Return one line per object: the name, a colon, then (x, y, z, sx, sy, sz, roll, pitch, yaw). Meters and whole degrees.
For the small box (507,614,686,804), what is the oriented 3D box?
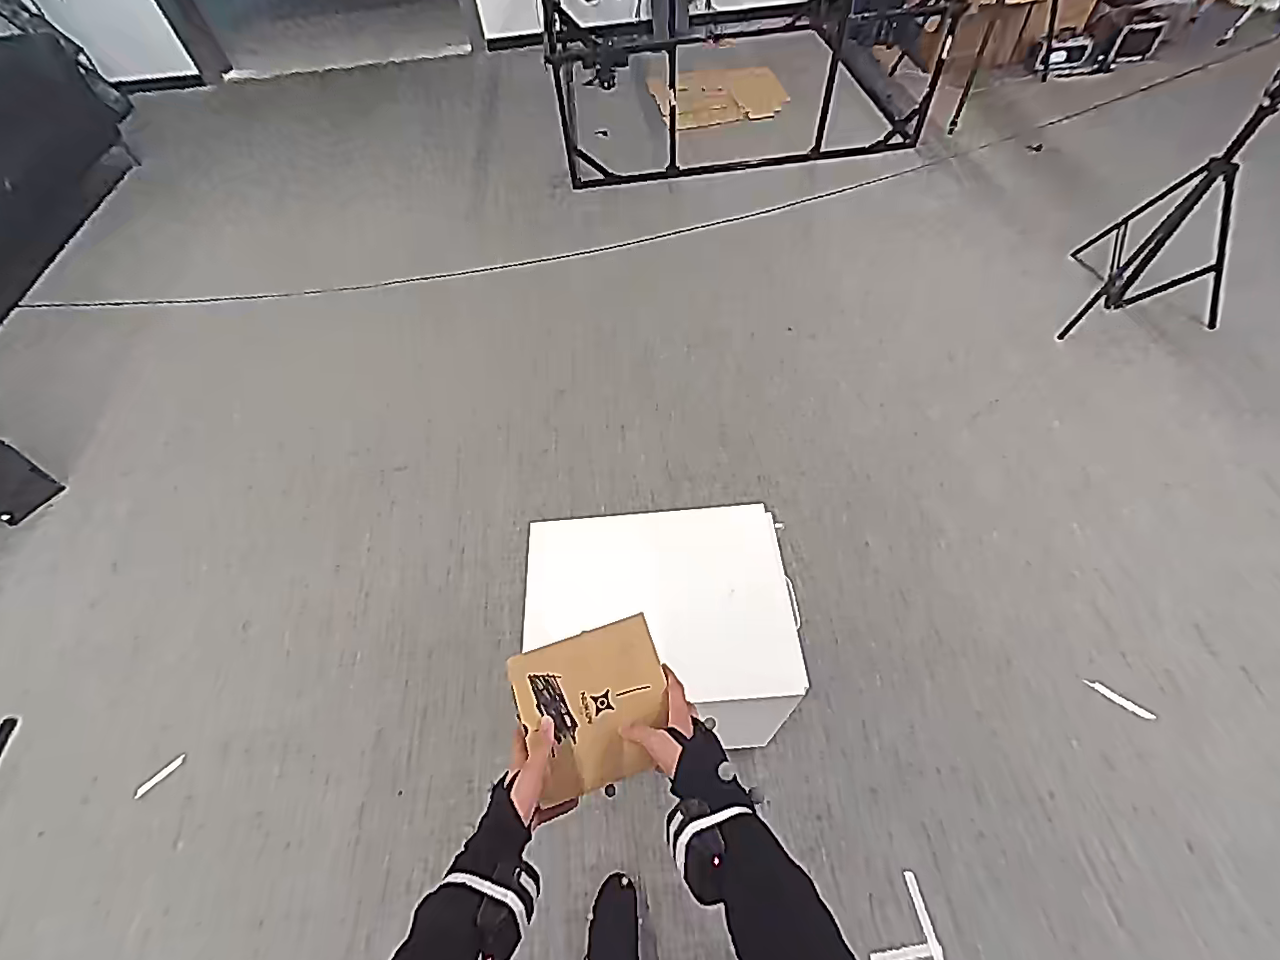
small box: (-0.054, 0.293, 0.694, 0.179, 0.176, 0.168, -16, 66, -9)
